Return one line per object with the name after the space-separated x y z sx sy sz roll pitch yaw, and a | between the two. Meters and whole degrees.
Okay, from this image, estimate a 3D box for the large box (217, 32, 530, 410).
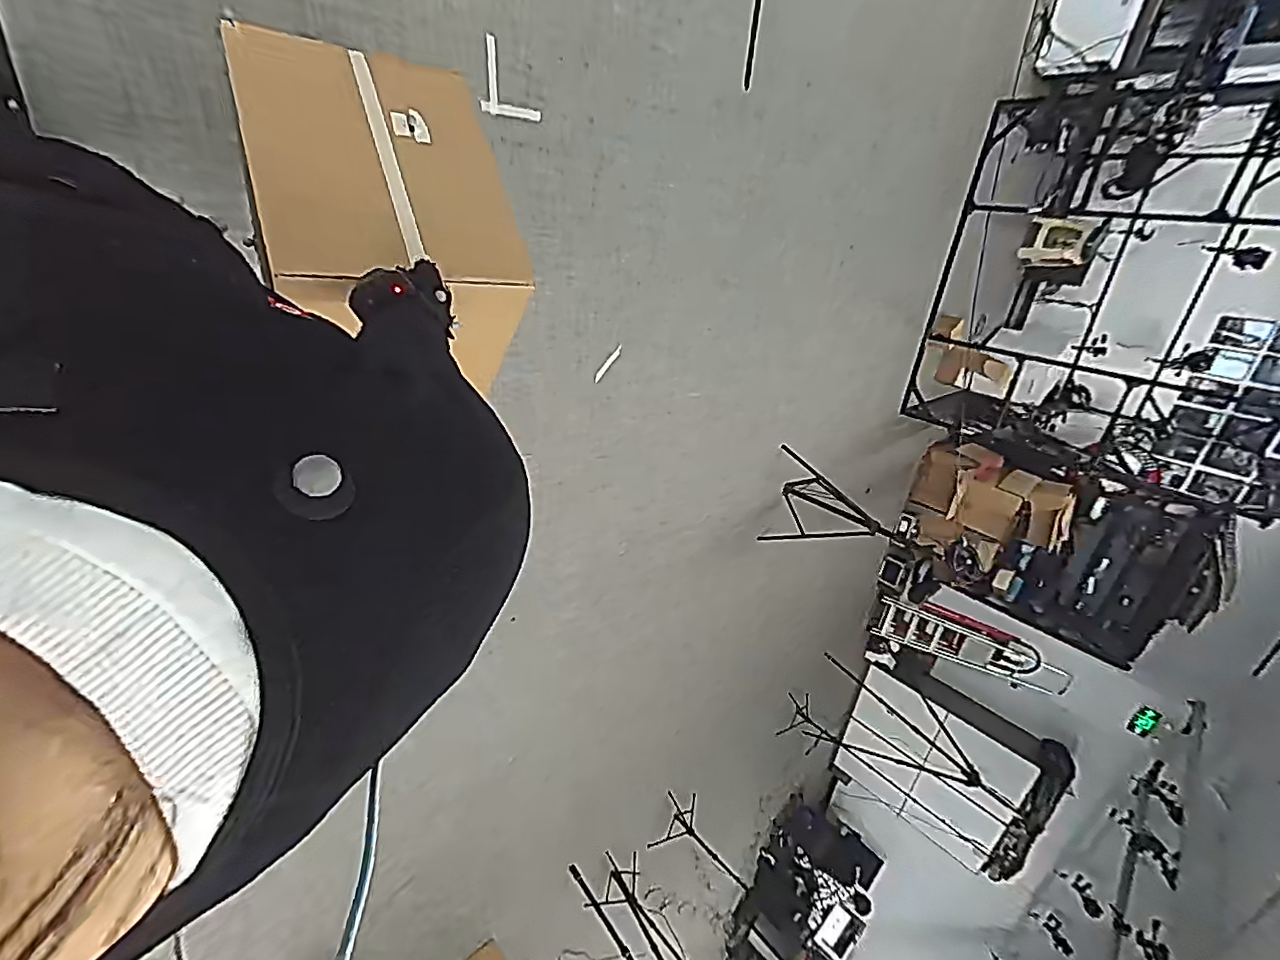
-0.418 -0.368 0.850 0.320 0.408 0.320 -11 162 -35 | large box
